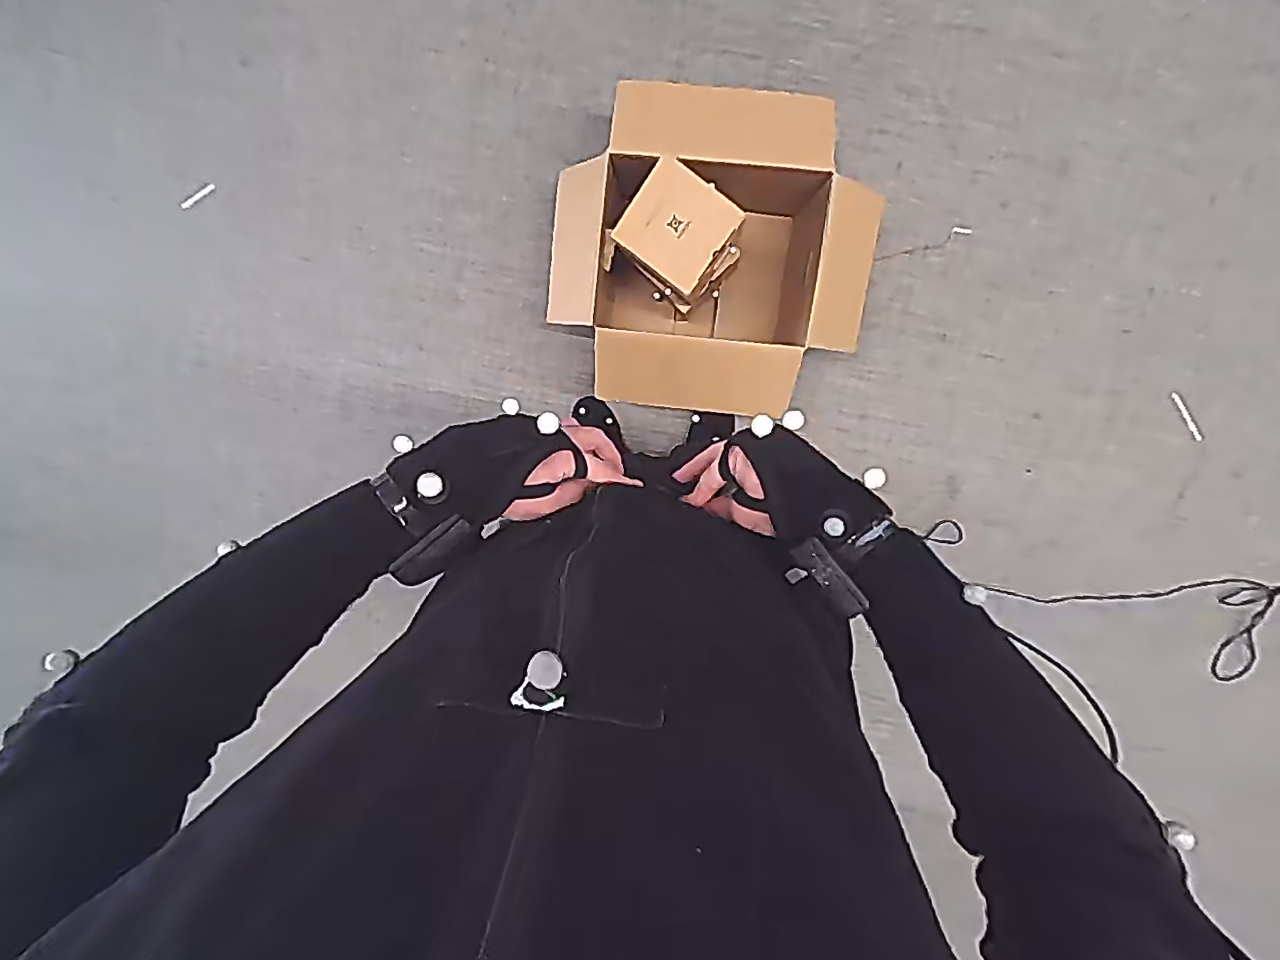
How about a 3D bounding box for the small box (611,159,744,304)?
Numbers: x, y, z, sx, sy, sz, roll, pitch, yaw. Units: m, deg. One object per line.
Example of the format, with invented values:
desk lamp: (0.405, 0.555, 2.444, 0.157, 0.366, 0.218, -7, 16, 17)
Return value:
small box: (0.074, -0.449, 1.015, 0.179, 0.176, 0.168, 37, 103, -1)
